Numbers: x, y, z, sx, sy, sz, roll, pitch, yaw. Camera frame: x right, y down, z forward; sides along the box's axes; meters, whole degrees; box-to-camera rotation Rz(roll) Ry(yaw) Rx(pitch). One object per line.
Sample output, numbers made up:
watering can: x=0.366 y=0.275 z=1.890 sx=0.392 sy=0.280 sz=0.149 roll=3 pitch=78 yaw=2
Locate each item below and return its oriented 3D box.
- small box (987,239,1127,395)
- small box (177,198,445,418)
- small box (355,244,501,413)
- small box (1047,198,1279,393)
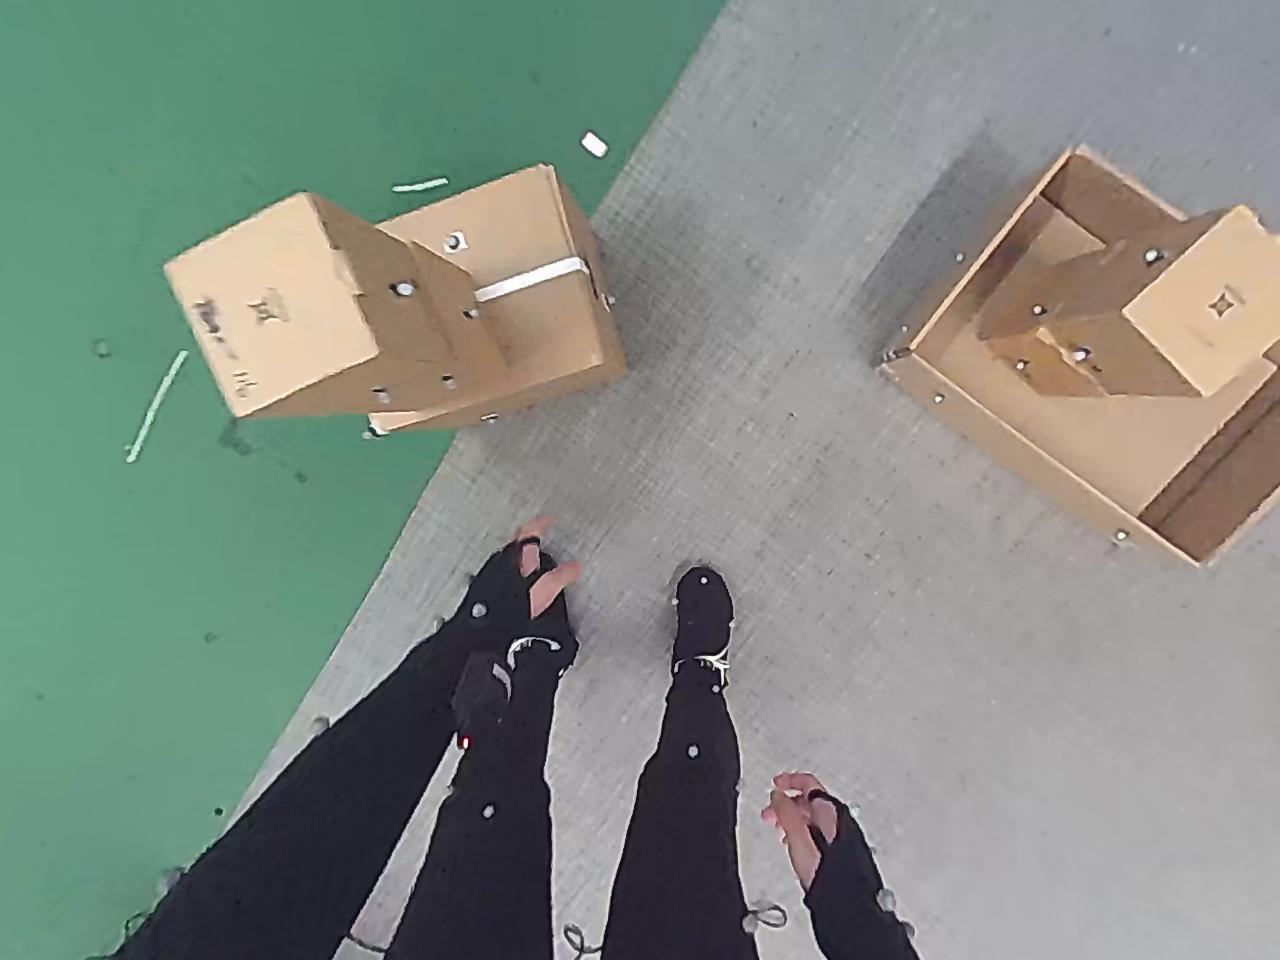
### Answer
small box: x=0.741 y=-0.264 z=0.910 sx=0.168 sy=0.176 sz=0.179 roll=39 pitch=101 yaw=-3
small box: x=-0.347 y=-0.179 z=0.614 sx=0.179 sy=0.176 sz=0.168 roll=-21 pitch=95 yaw=8
small box: x=-0.320 y=-0.205 z=0.774 sx=0.179 sy=0.176 sz=0.168 roll=-22 pitch=94 yaw=8
small box: x=0.731 y=-0.241 z=0.748 sx=0.168 sy=0.176 sz=0.179 roll=43 pitch=101 yaw=-3
